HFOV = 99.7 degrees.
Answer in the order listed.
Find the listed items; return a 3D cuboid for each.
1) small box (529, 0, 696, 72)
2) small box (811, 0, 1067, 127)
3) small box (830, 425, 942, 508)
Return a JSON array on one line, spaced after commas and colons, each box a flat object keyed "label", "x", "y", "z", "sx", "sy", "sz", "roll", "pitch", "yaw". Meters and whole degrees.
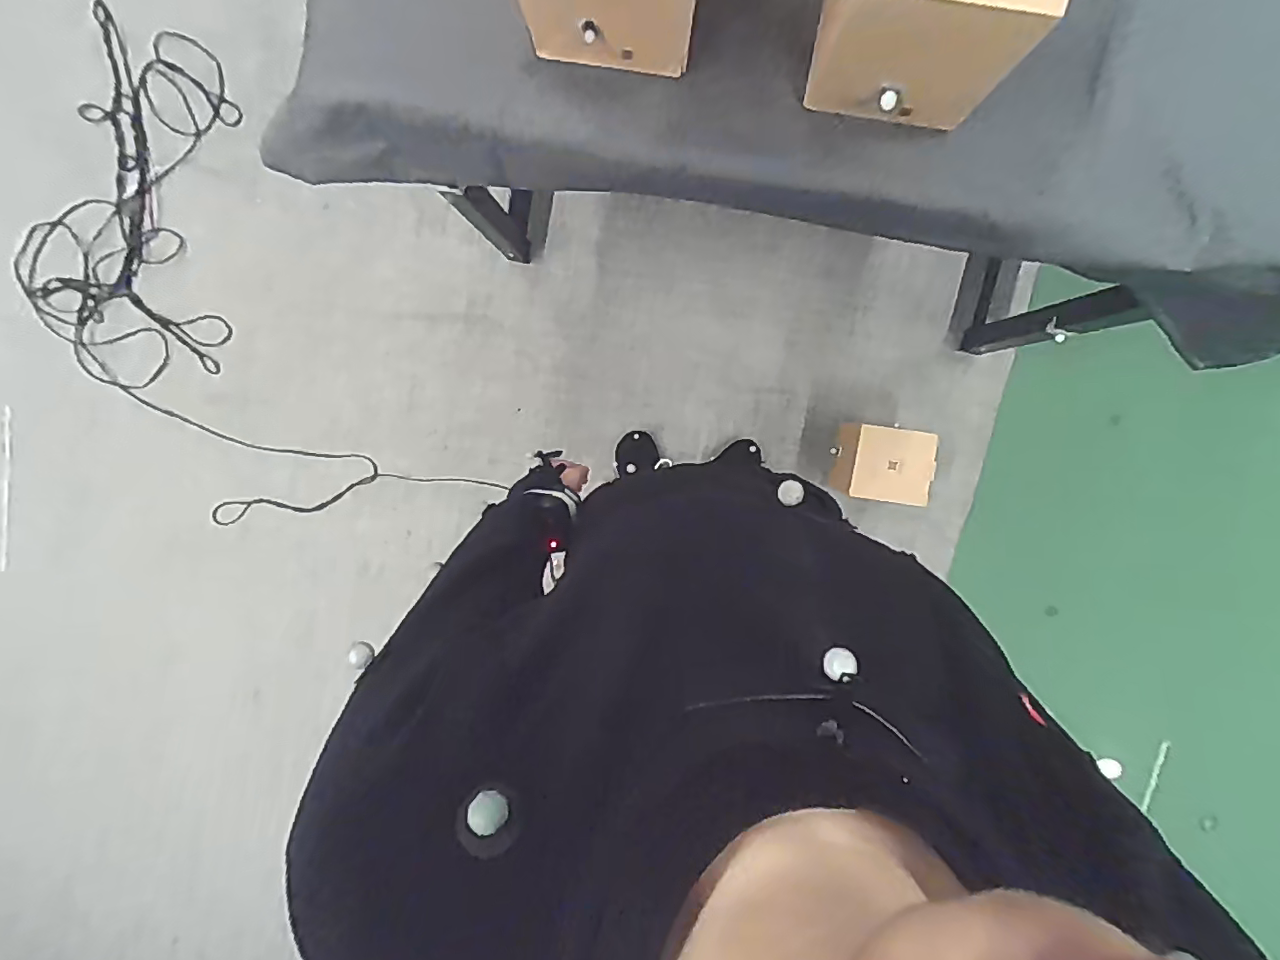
[{"label": "small box", "x": -0.022, "y": -0.535, "z": 0.505, "sx": 0.168, "sy": 0.176, "sz": 0.179, "roll": 9, "pitch": 97, "yaw": 1}, {"label": "small box", "x": 0.270, "y": -0.470, "z": 0.495, "sx": 0.168, "sy": 0.176, "sz": 0.179, "roll": 10, "pitch": 97, "yaw": 2}, {"label": "small box", "x": 0.565, "y": -0.038, "z": 1.263, "sx": 0.179, "sy": 0.176, "sz": 0.168, "roll": 7, "pitch": 95, "yaw": 2}]
